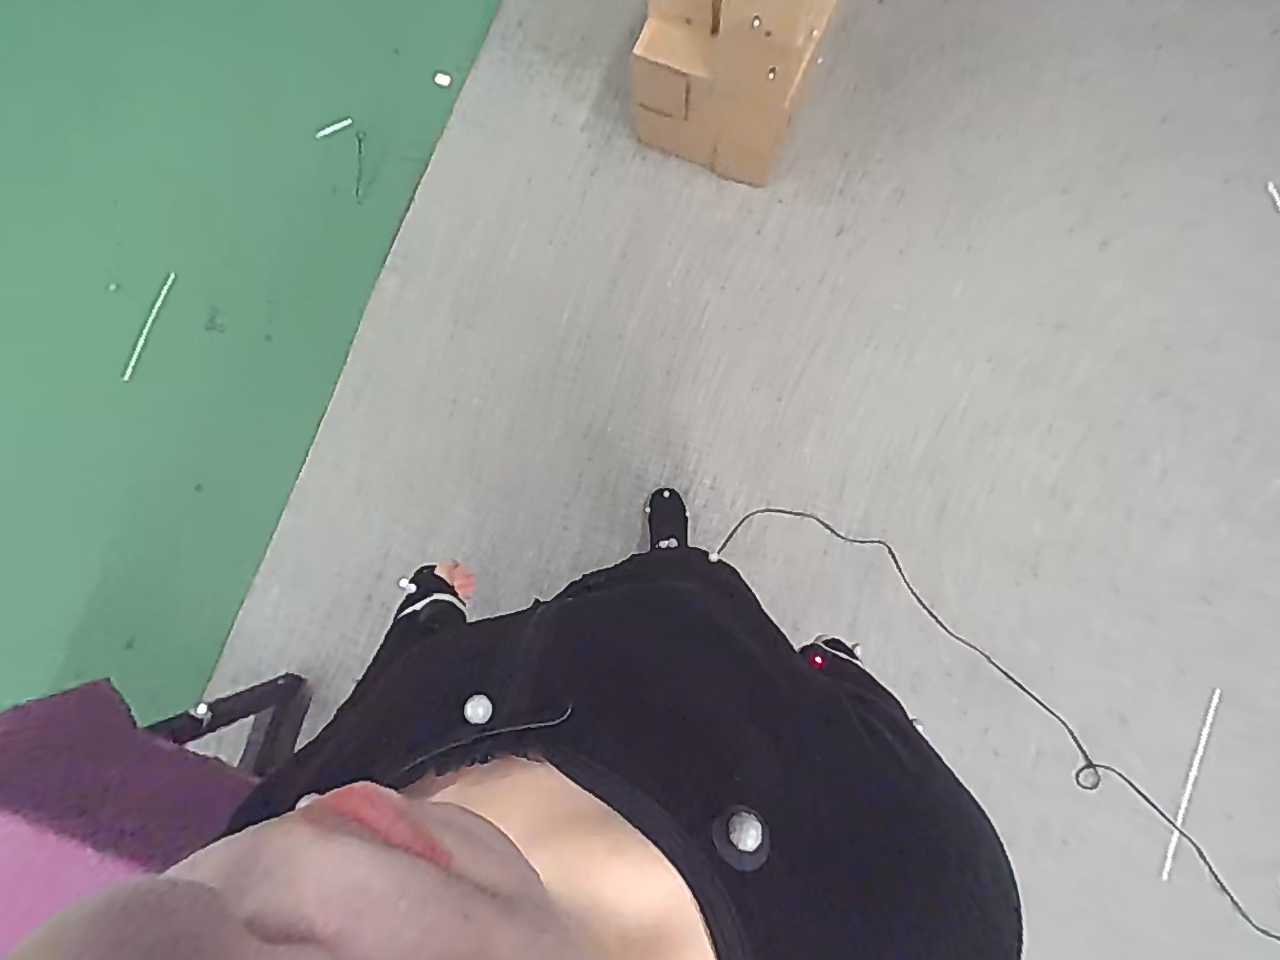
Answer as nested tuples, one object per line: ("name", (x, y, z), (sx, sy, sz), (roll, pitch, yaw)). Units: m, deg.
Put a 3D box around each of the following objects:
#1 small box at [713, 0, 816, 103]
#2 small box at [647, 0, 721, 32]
("small box", (0.272, -0.983, 1.194), (0.179, 0.176, 0.168), (21, 85, 6))
("small box", (0.113, -1.186, 1.227), (0.168, 0.176, 0.179), (23, 85, 7))
